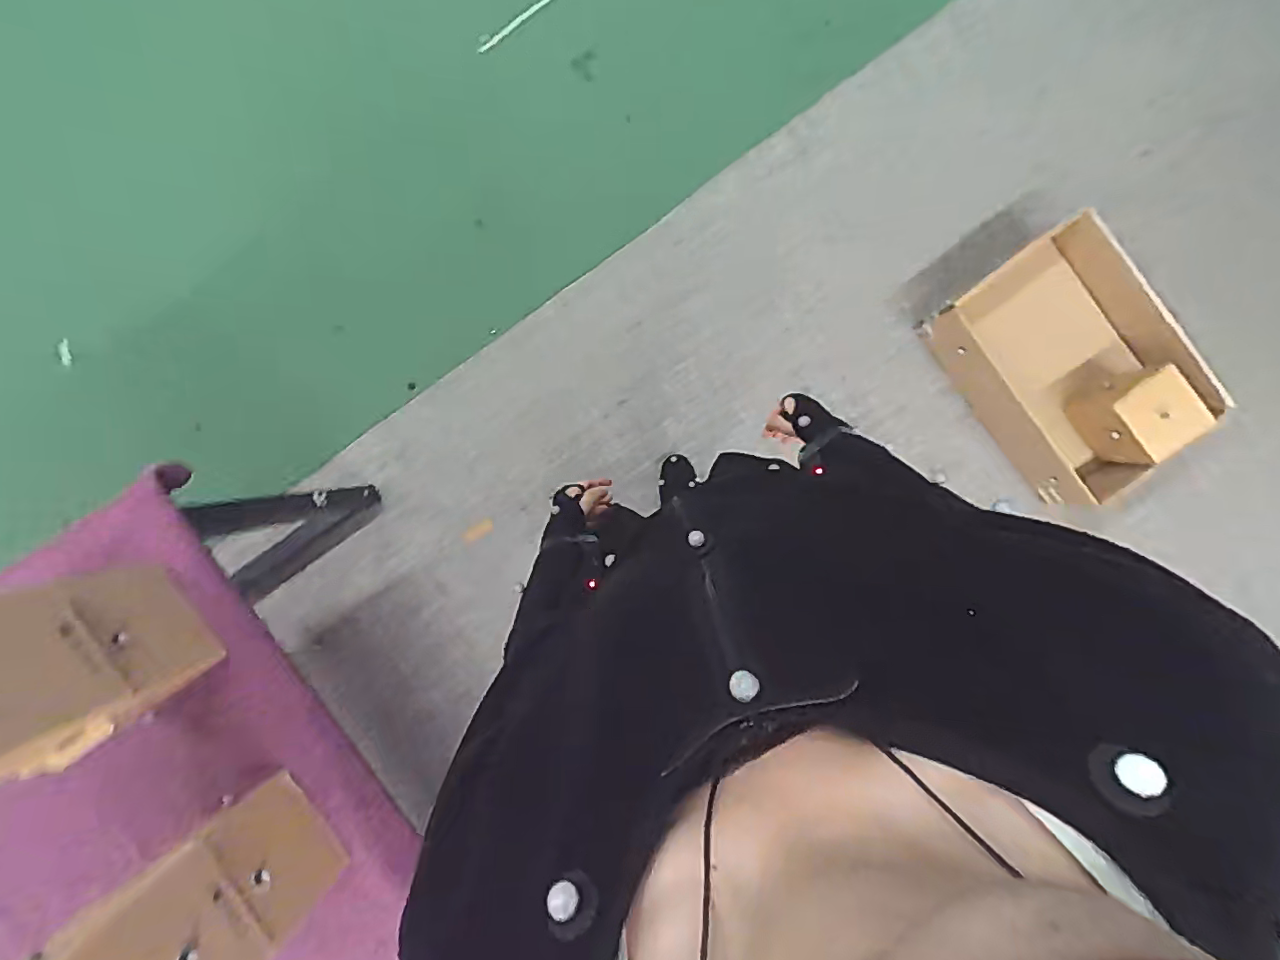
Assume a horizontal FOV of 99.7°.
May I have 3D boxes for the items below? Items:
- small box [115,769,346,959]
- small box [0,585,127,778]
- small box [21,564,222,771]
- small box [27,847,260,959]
[{"bbox_3d":[-0.554,0.549,0.746,0.168,0.176,0.179,-34,91,3],"label":"small box"},{"bbox_3d":[-0.722,0.238,0.569,0.179,0.176,0.168,-34,92,3],"label":"small box"},{"bbox_3d":[-0.734,0.238,0.734,0.168,0.176,0.179,-36,91,2],"label":"small box"},{"bbox_3d":[-0.559,0.550,0.582,0.179,0.176,0.168,-31,91,3],"label":"small box"}]
